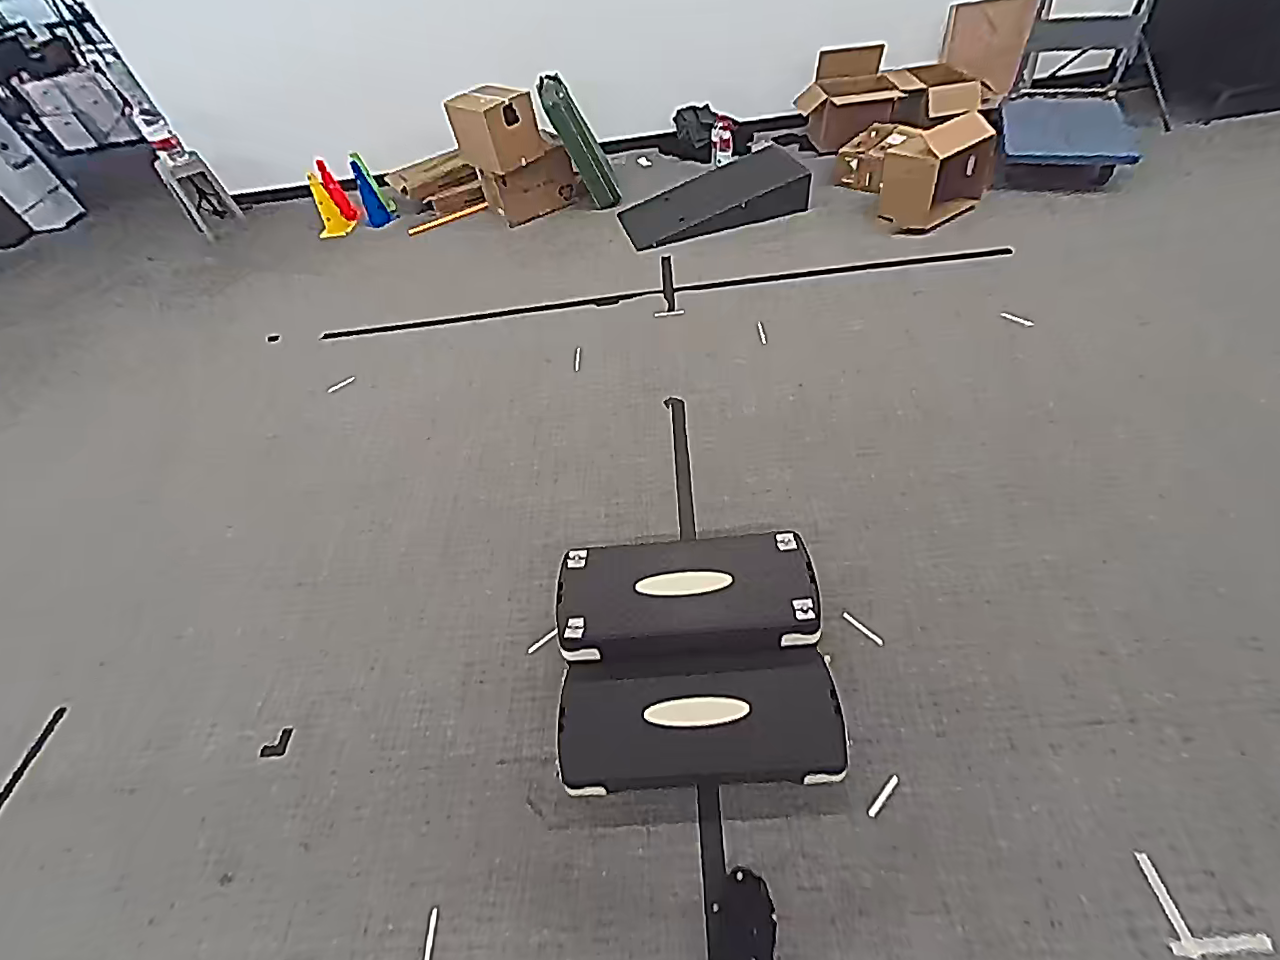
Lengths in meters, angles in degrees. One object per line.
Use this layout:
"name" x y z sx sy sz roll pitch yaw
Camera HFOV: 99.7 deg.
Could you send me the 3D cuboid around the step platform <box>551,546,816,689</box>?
"step platform" 0.109 0.361 1.441 0.684 0.204 0.286 -6 50 3
